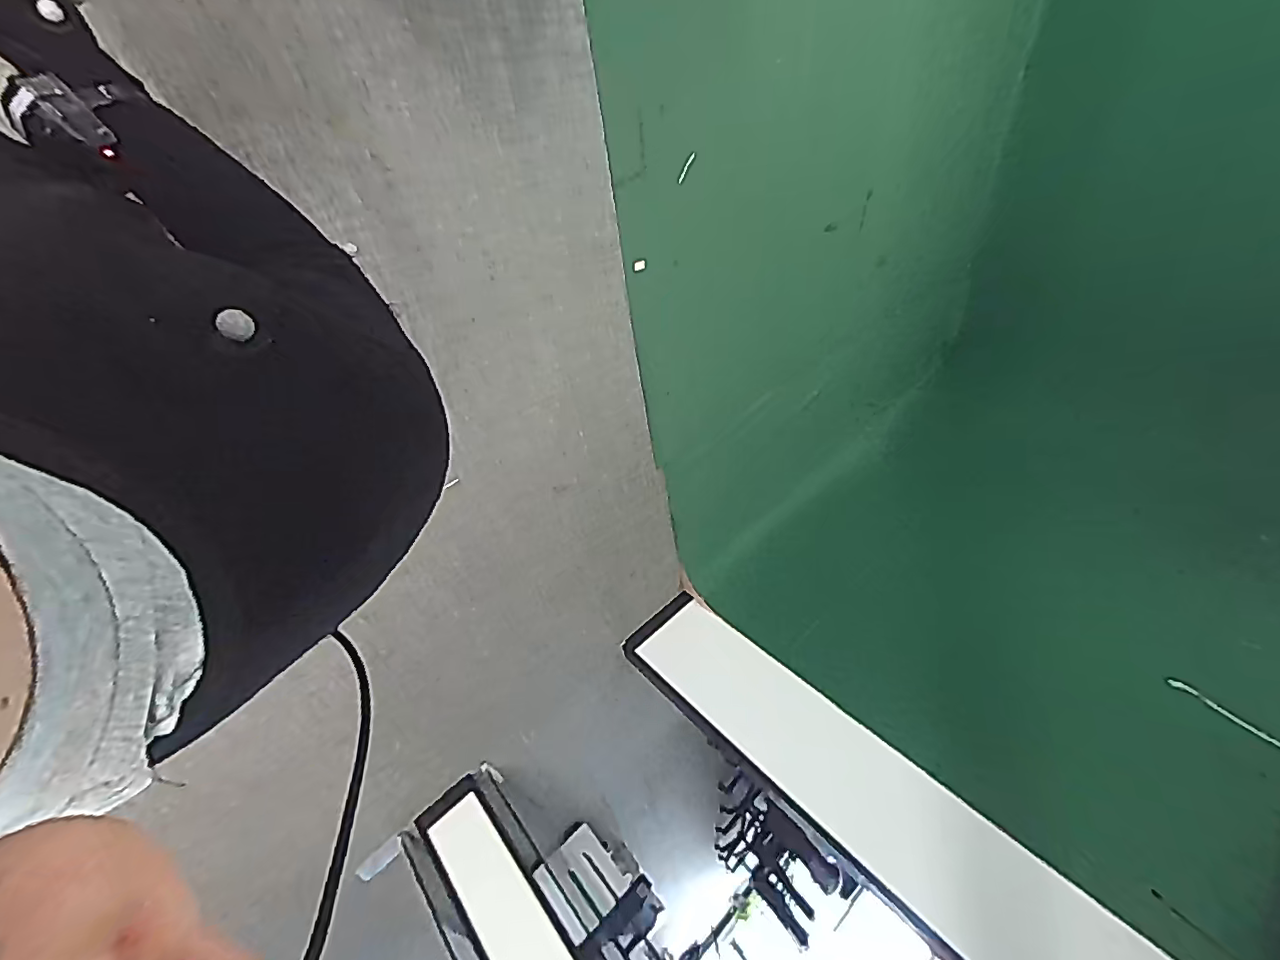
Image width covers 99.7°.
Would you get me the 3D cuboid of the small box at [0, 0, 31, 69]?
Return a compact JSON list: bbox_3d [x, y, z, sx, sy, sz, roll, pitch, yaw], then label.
[{"bbox_3d":[-0.602,-0.433,0.375,0.168,0.176,0.179,-23,106,-29],"label":"small box"}]
